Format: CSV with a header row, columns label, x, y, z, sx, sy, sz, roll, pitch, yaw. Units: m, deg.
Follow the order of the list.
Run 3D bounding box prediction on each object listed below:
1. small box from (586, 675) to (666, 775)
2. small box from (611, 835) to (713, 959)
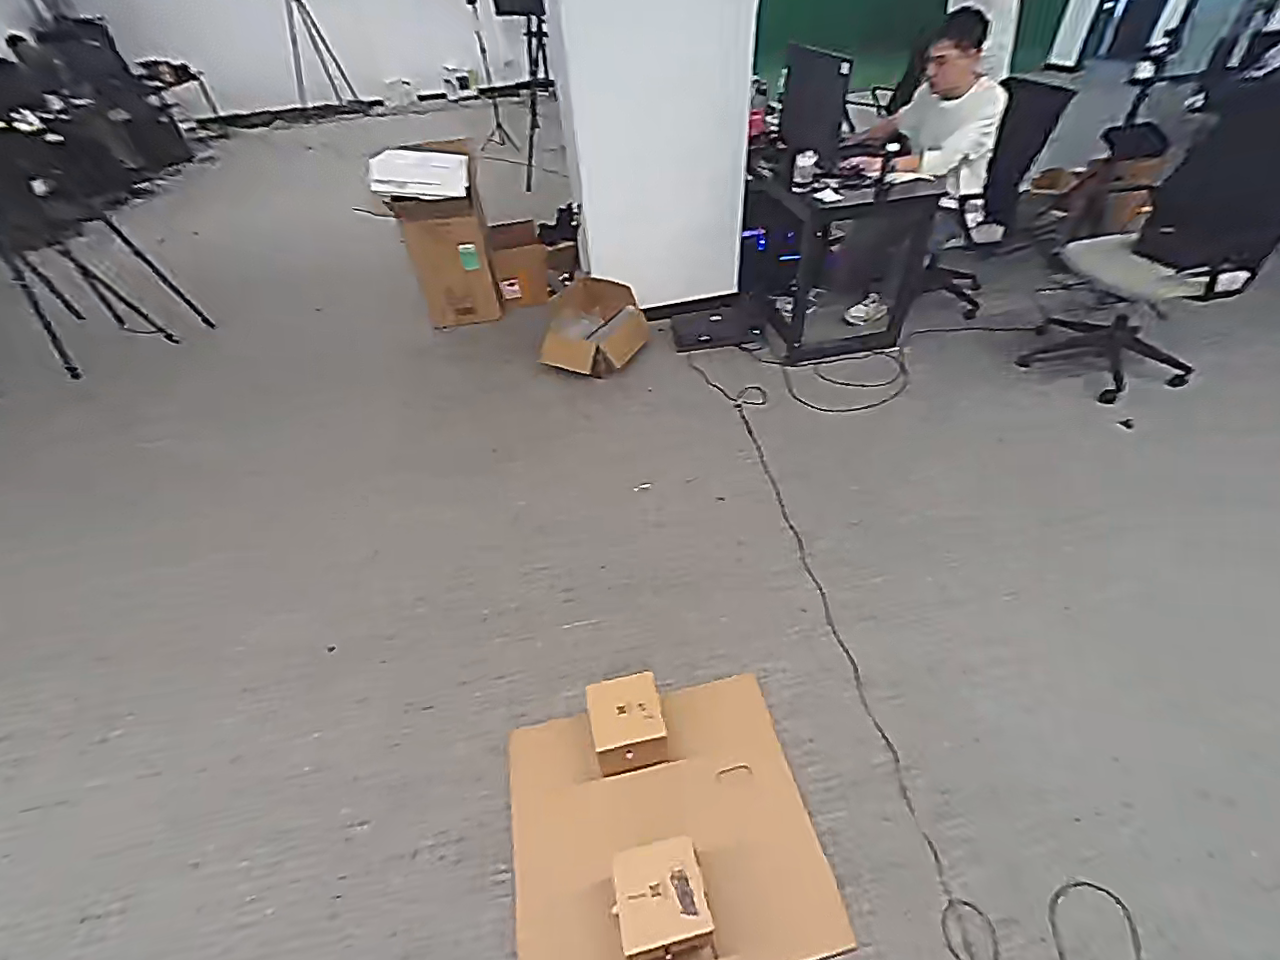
label,x,y,z,sx,sy,sz,roll,pitch,yaw
small box,-0.034,0.629,1.383,0.179,0.176,0.168,-10,45,-7
small box,0.042,0.872,1.125,0.179,0.176,0.168,-11,44,-7
